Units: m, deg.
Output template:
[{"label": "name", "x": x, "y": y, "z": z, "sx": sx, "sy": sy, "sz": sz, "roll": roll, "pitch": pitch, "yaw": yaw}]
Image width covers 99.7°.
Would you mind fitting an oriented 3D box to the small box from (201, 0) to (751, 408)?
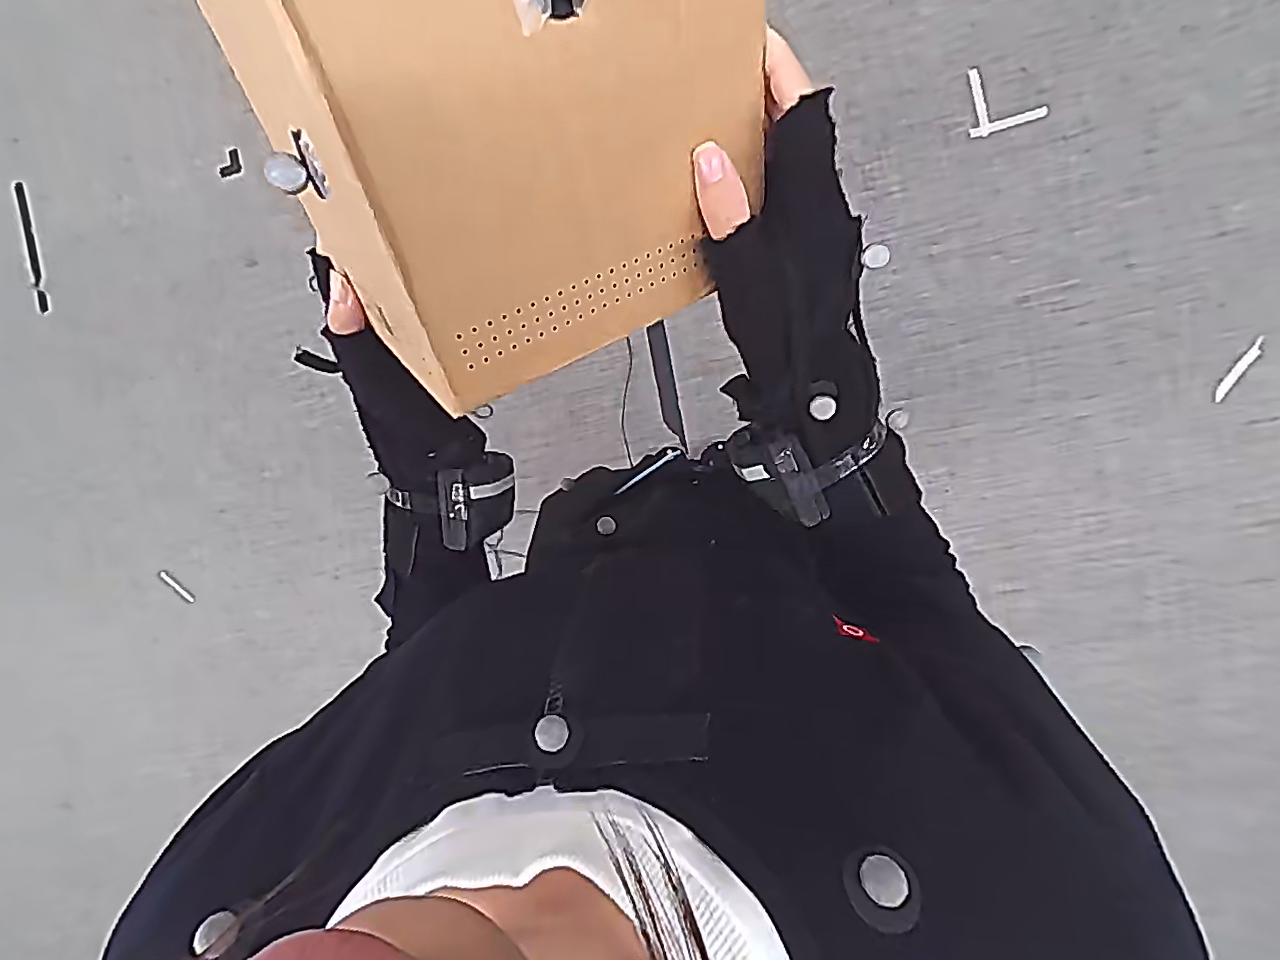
[{"label": "small box", "x": -0.061, "y": -0.159, "z": 0.252, "sx": 0.179, "sy": 0.176, "sz": 0.168, "roll": -31, "pitch": 46, "yaw": -20}]
